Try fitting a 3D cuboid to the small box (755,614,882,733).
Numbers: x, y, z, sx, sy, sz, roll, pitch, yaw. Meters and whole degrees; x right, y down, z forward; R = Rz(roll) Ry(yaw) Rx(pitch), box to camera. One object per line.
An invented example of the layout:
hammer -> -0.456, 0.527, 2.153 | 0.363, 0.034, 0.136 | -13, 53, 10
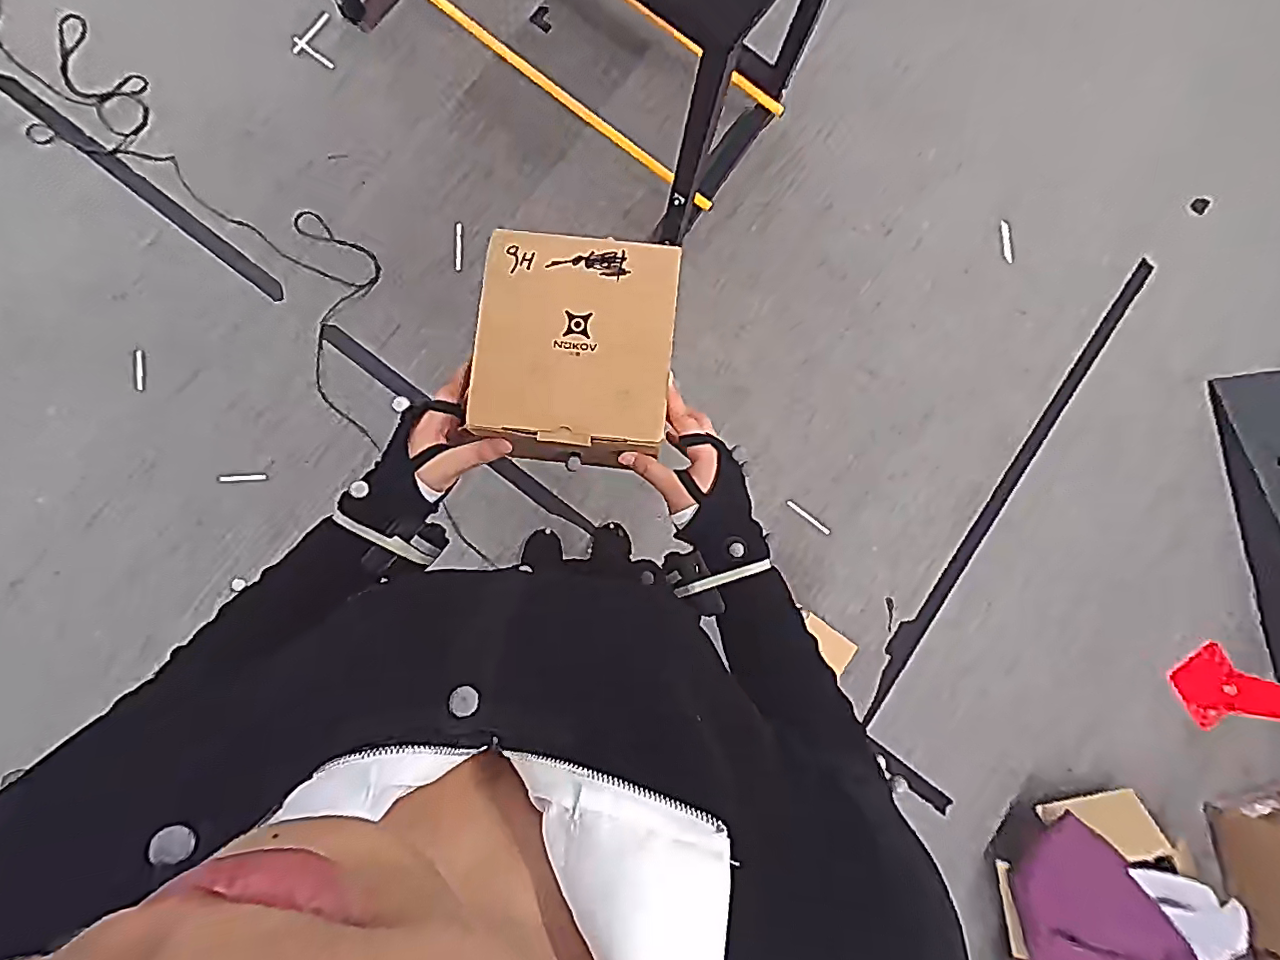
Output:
small box -> 0.389, 0.419, 1.206 | 0.179, 0.176, 0.168 | 36, 82, -1
